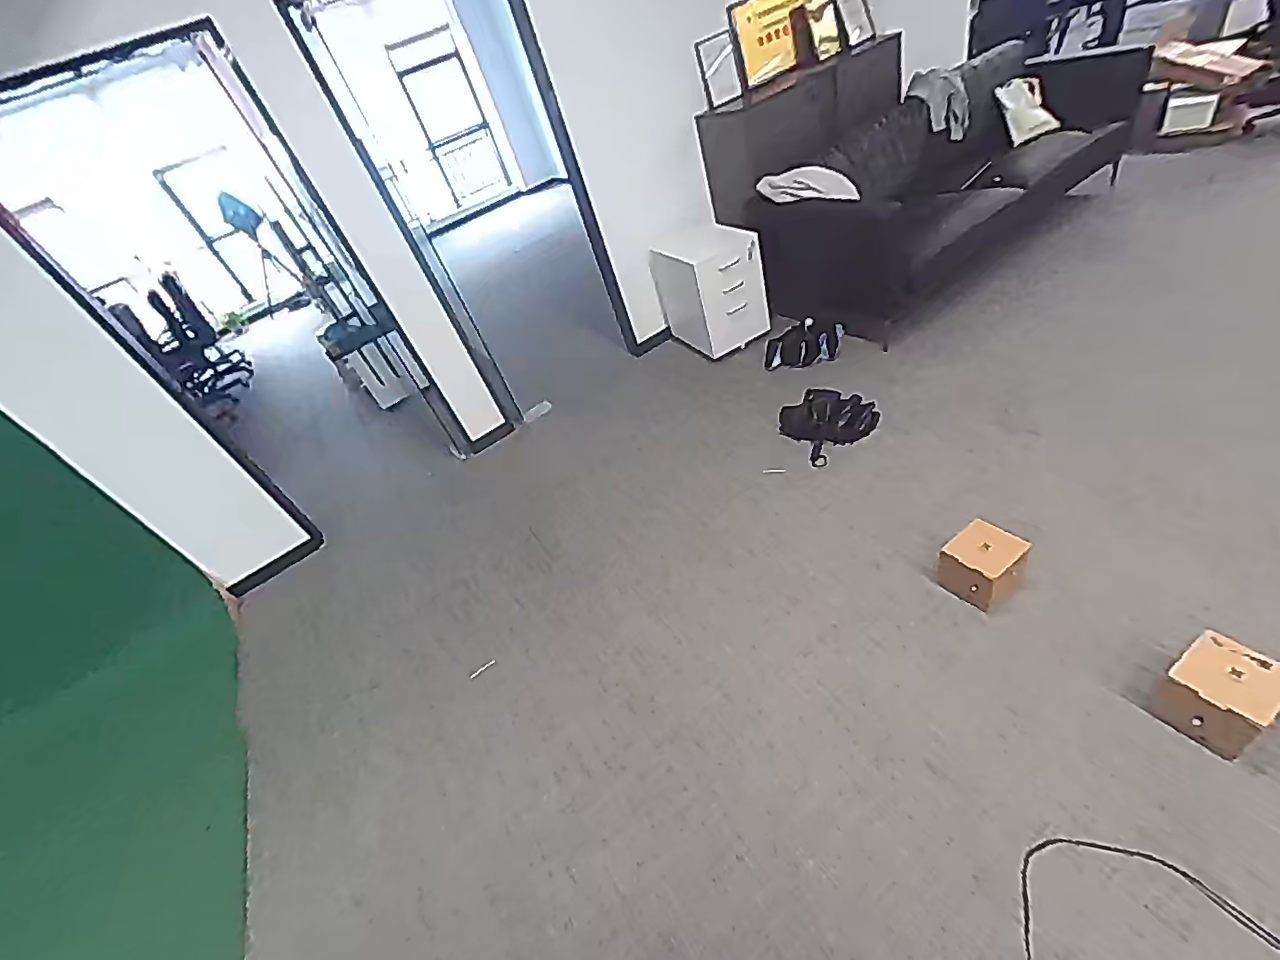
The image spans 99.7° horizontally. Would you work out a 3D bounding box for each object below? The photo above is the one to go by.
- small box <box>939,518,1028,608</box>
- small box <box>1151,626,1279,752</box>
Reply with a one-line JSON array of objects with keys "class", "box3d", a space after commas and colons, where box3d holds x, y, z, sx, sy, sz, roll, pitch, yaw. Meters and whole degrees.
[{"class": "small box", "box3d": [1.039, 0.257, 1.648, 0.179, 0.176, 0.168, -33, 40, -17]}, {"class": "small box", "box3d": [1.323, 0.480, 1.238, 0.179, 0.176, 0.168, -34, 39, -15]}]
